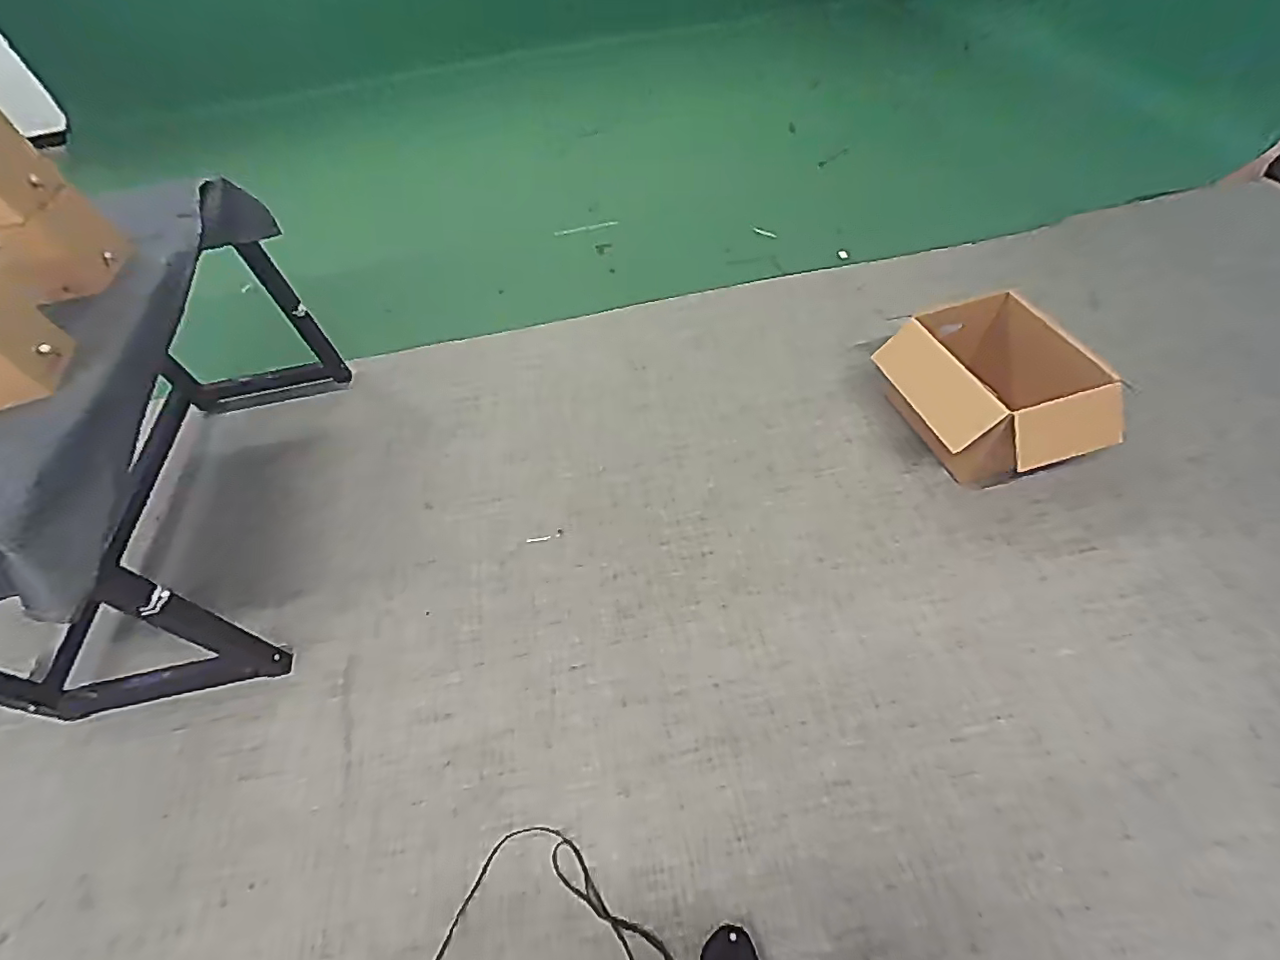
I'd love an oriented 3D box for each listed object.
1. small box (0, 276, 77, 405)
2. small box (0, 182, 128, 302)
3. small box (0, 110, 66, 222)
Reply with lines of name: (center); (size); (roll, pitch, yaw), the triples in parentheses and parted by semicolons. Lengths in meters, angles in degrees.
small box: (-1.201, -0.241, 0.974); (0.179, 0.176, 0.168); (-19, 55, -8)
small box: (-1.295, -0.521, 1.187); (0.168, 0.176, 0.179); (-11, 53, -1)
small box: (-1.313, -0.616, 1.049); (0.168, 0.176, 0.179); (-10, 54, 0)
